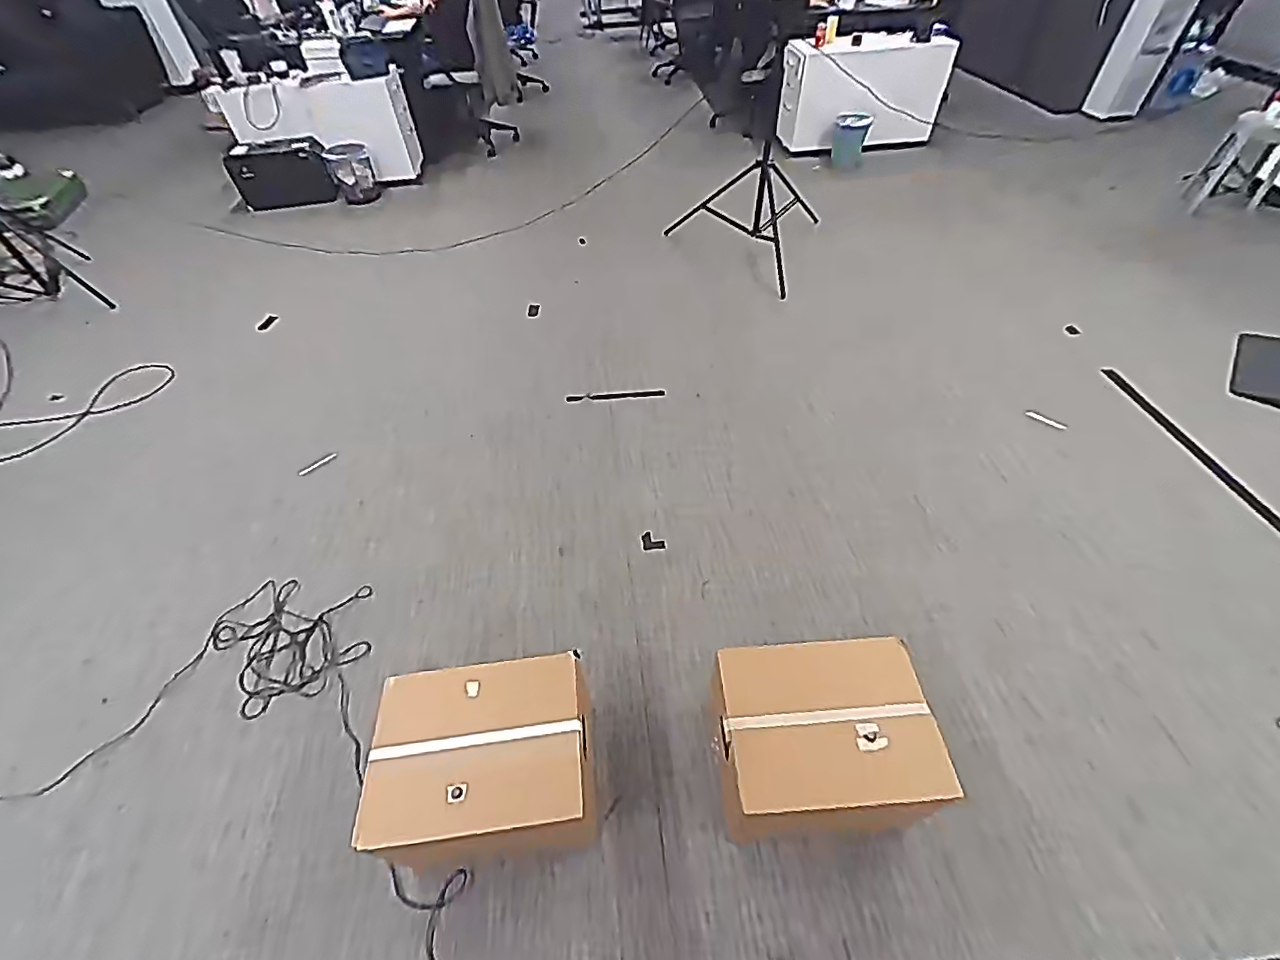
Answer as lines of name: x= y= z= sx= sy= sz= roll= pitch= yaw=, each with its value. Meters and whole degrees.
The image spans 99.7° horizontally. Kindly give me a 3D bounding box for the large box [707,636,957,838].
large box: x=0.378 y=0.569 z=1.191 sx=0.408 sy=0.320 sz=0.320 roll=-3 pitch=49 yaw=-2
